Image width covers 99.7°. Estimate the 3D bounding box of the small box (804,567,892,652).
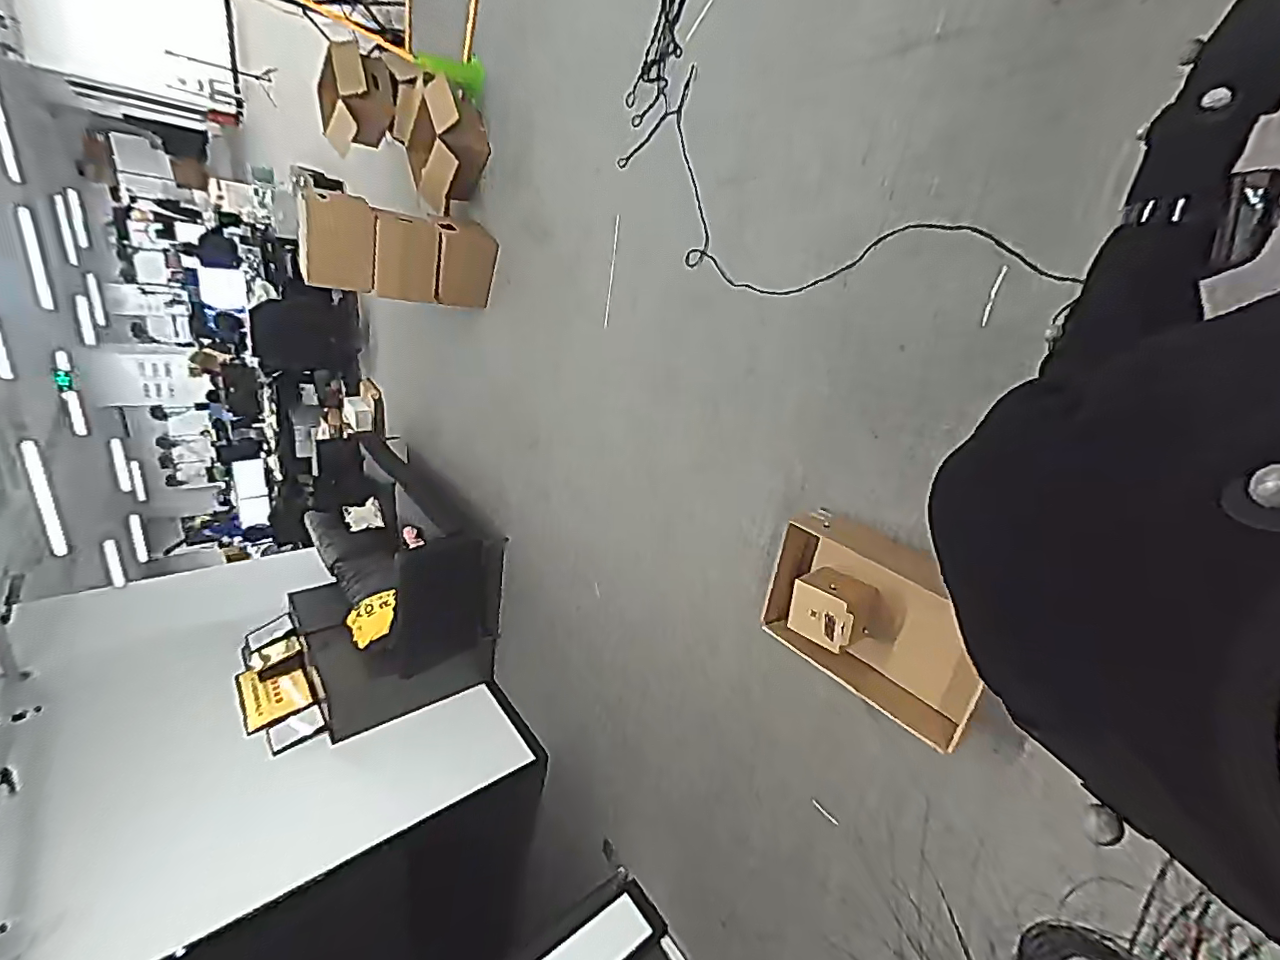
[{"bbox_3d":[0.625,0.378,1.618,0.179,0.176,0.168,23,114,47],"label":"small box"}]
